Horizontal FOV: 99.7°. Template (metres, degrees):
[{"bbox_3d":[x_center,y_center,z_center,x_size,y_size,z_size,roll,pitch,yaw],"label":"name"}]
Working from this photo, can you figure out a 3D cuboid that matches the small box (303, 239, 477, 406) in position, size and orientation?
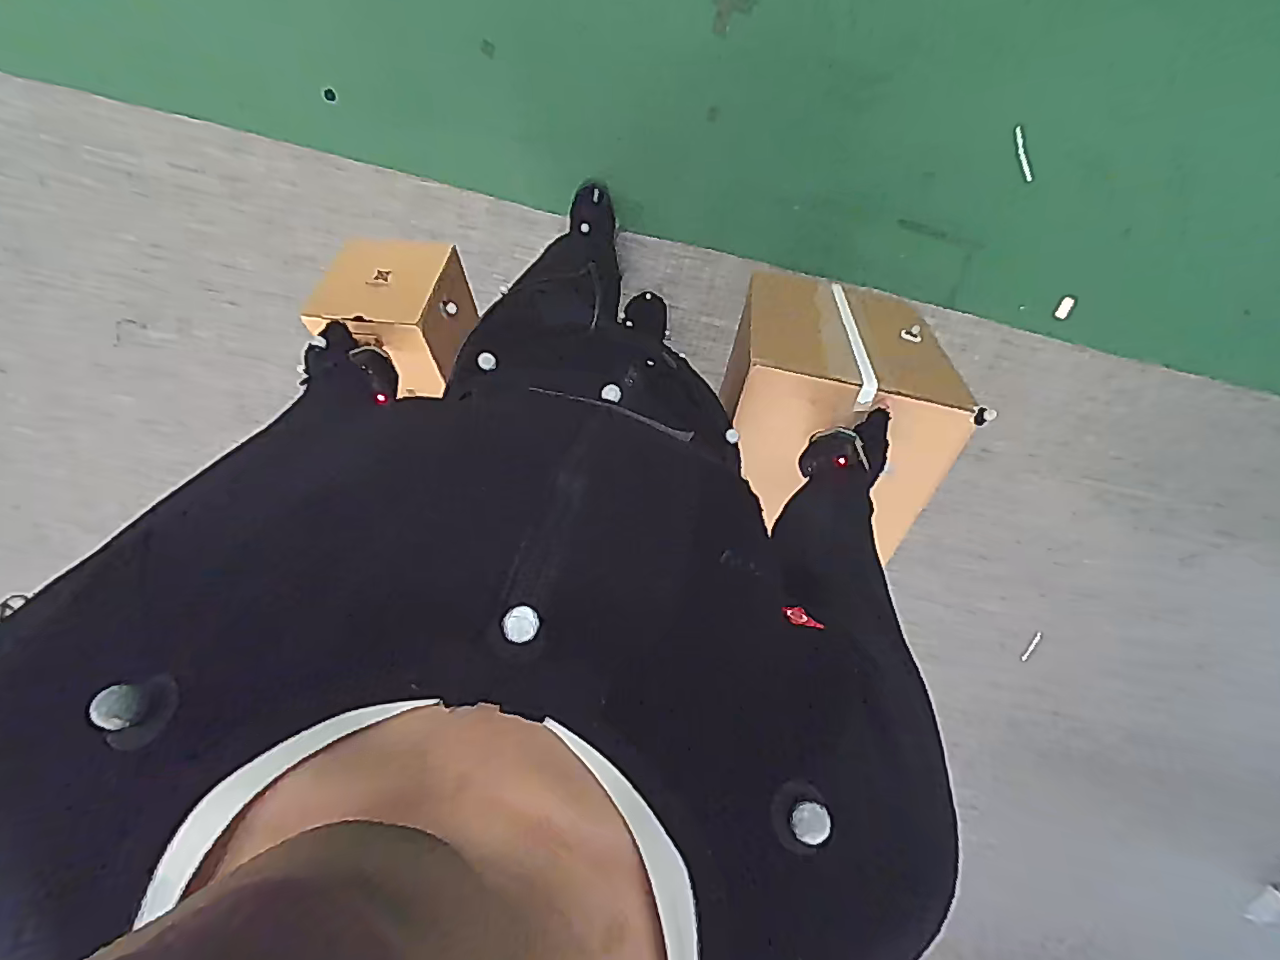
[{"bbox_3d":[-0.364,-0.238,0.832,0.168,0.179,0.176,5,149,3],"label":"small box"}]
